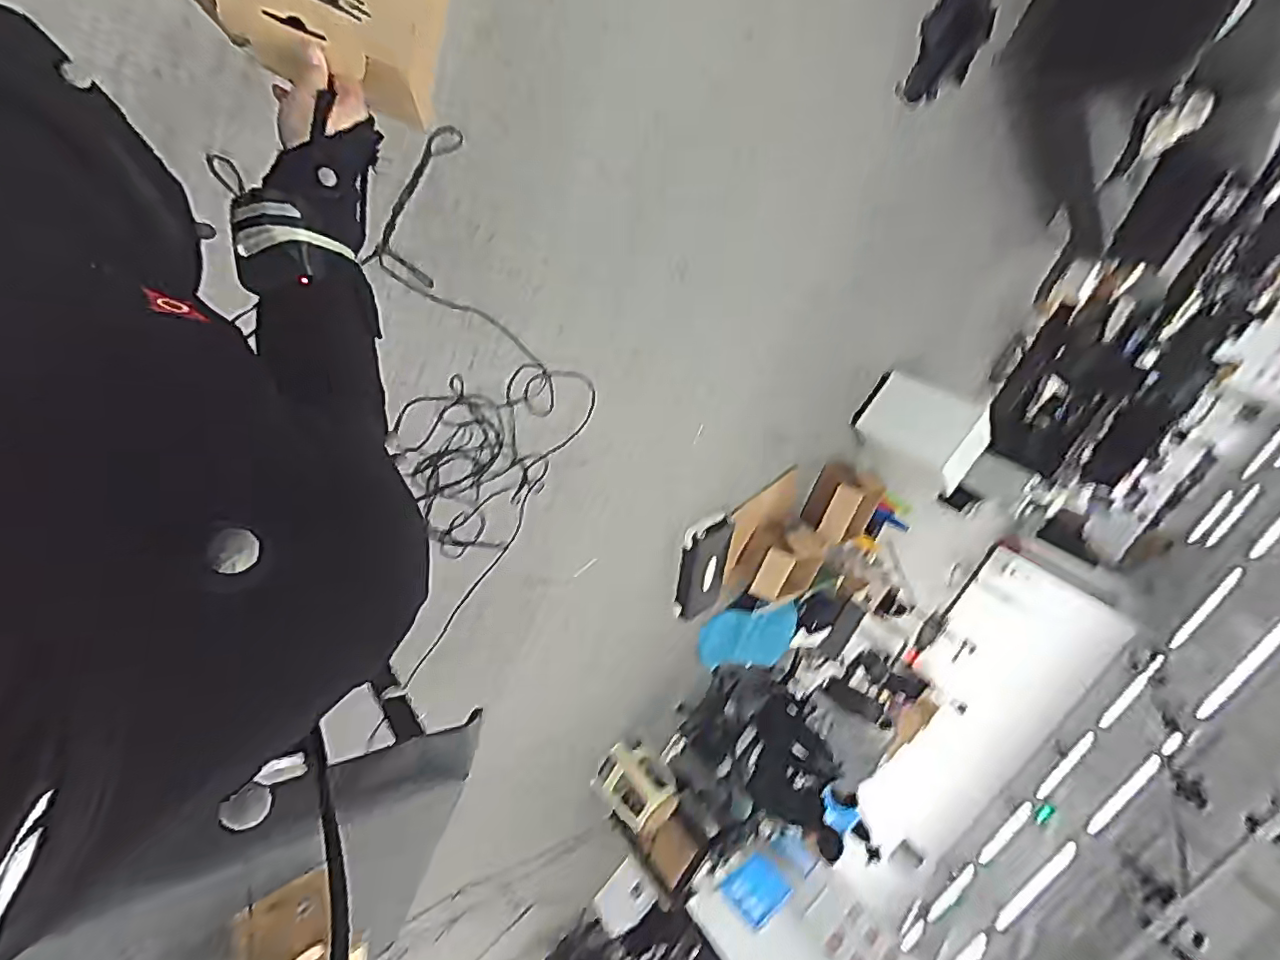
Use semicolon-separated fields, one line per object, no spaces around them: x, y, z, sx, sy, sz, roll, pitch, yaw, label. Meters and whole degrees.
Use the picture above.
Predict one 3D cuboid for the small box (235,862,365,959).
-0.606;0.842;0.972;0.168;0.176;0.179;-13;128;-40;small box
